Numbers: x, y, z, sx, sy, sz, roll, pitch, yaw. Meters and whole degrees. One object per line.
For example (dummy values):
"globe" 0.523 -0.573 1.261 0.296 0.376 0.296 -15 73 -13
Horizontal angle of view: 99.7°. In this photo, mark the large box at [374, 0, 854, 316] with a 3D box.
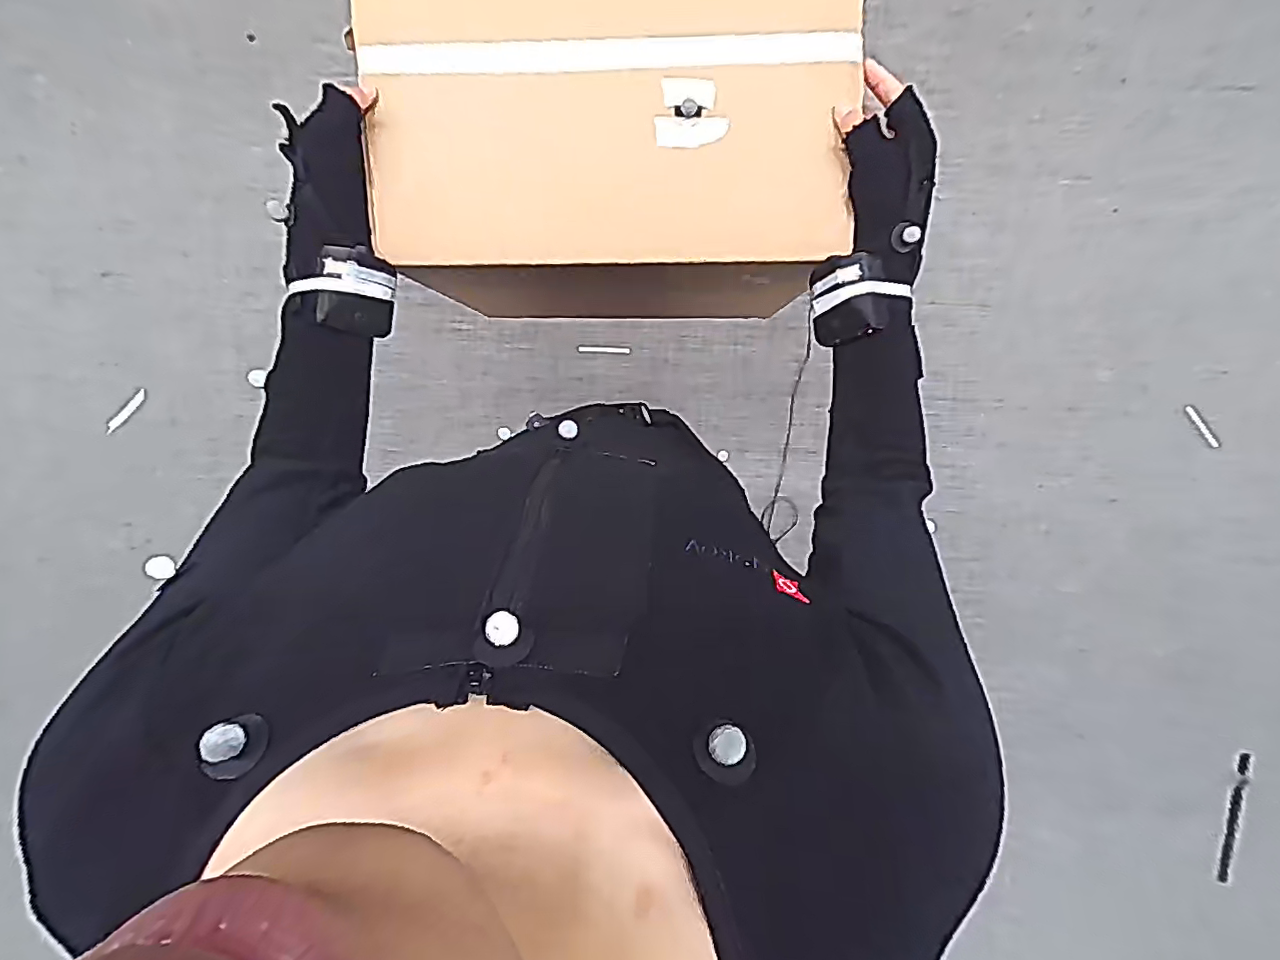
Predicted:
"large box" -0.022 -0.367 0.598 0.408 0.320 0.320 0 99 1
